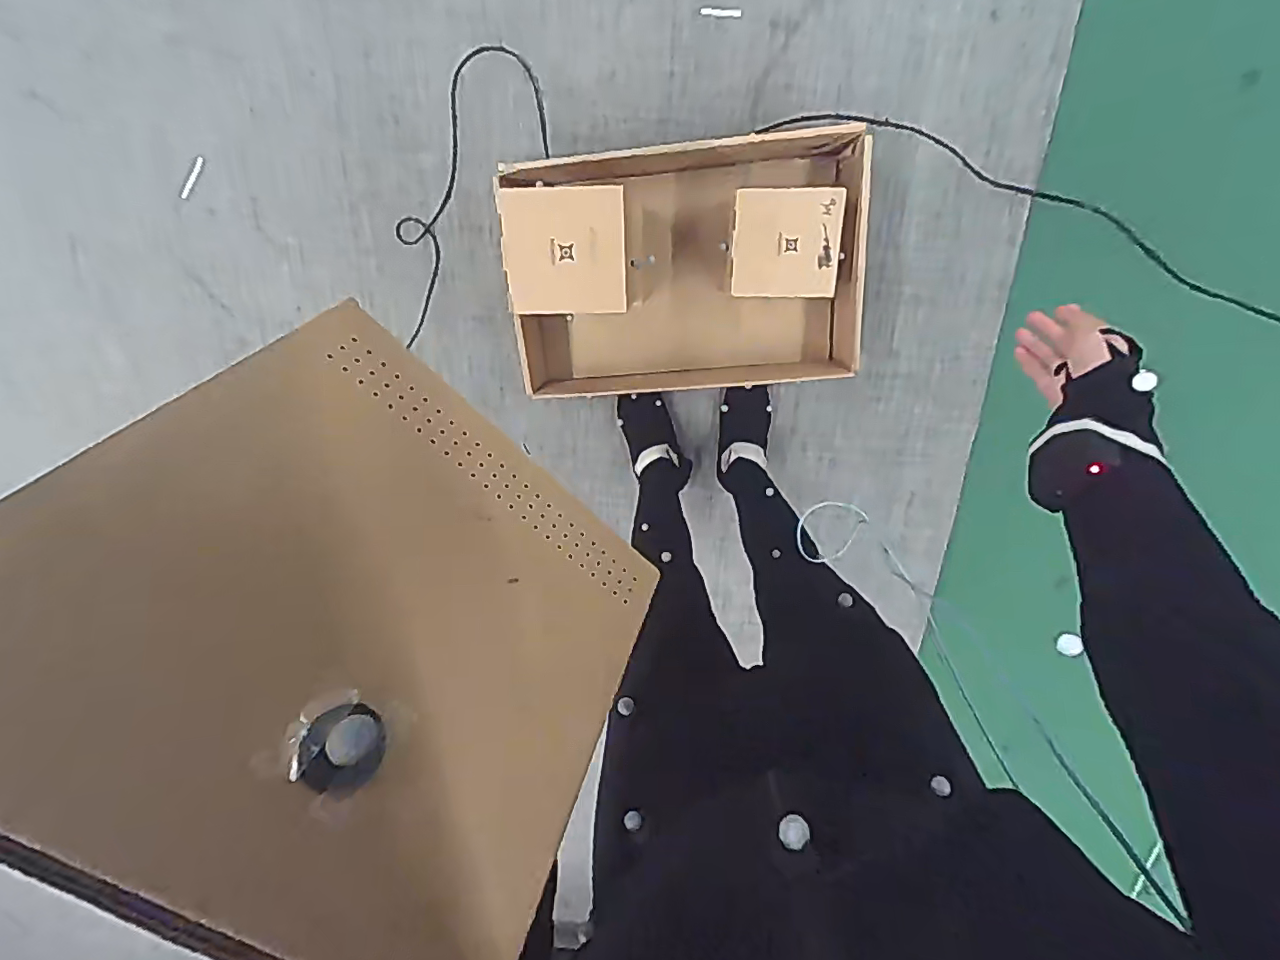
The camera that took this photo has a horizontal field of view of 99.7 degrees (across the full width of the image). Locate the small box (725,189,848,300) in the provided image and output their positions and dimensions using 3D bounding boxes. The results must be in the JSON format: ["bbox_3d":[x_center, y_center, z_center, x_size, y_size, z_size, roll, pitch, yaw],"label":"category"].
[{"bbox_3d":[0.246,-0.408,0.957,0.179,0.176,0.168,3,111,4],"label":"small box"}]

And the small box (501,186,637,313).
[{"bbox_3d":[-0.098,-0.348,0.829,0.179,0.176,0.168,1,112,3],"label":"small box"}]
